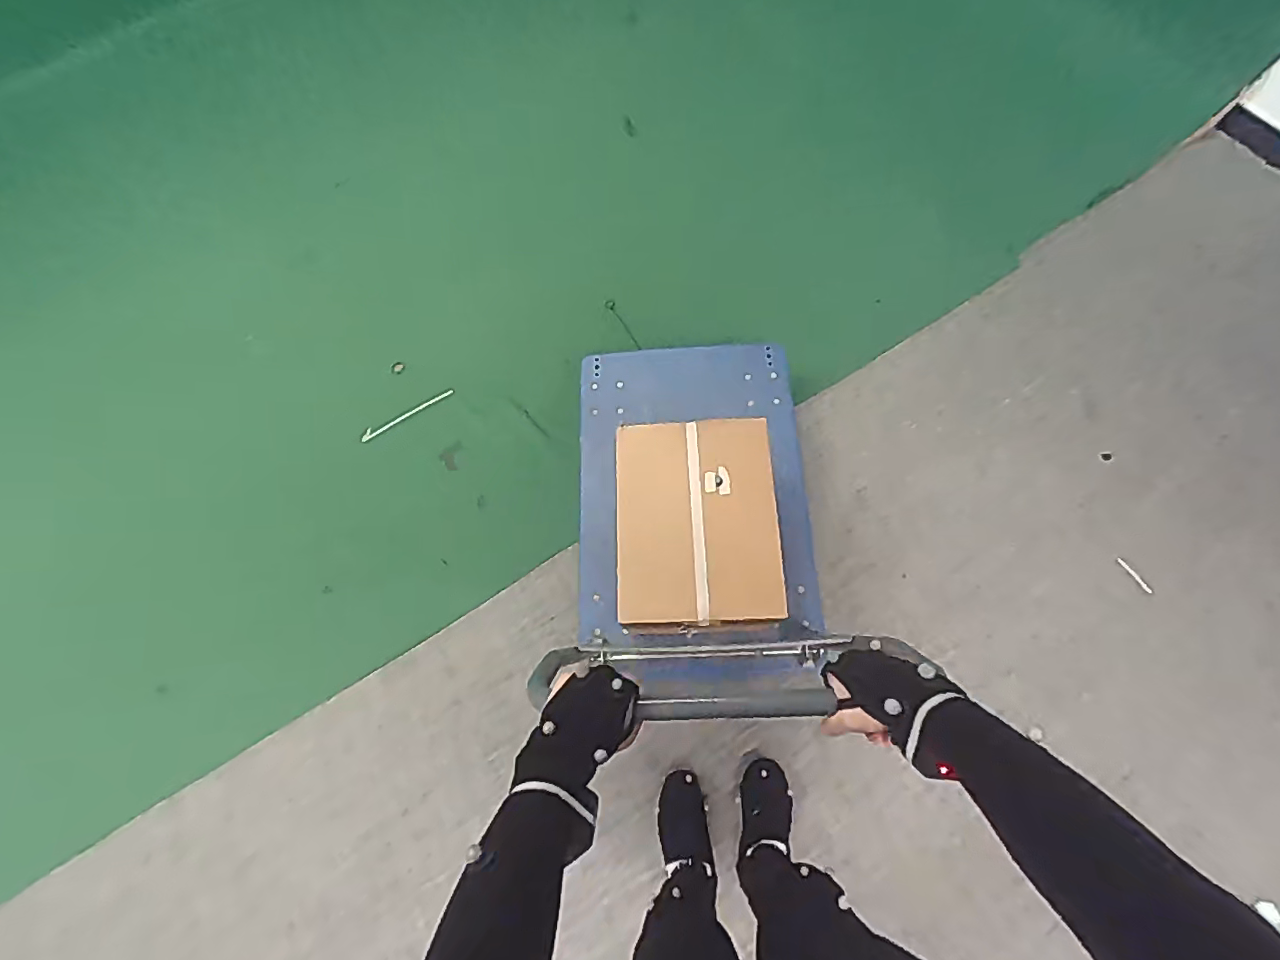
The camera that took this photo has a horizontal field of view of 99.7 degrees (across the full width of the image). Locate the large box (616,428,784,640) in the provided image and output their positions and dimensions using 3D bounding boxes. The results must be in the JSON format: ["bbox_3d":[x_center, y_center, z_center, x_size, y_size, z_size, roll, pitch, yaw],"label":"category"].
[{"bbox_3d":[0.121,0.137,1.213,0.320,0.320,0.408,-3,70,3],"label":"large box"}]
